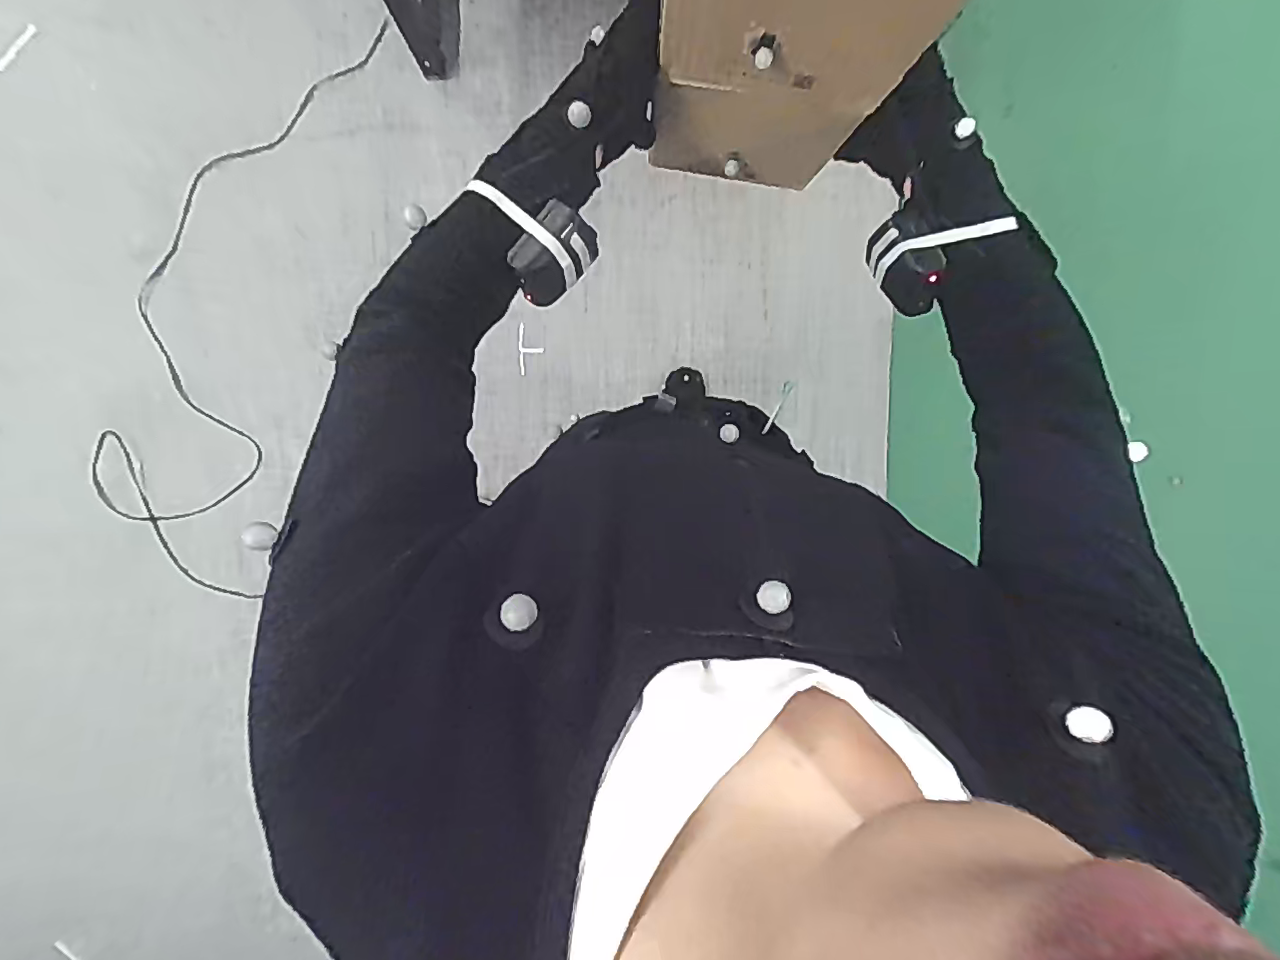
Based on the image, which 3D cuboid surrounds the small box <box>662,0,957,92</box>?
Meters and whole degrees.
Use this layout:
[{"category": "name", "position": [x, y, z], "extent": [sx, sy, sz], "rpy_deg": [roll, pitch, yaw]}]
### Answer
[{"category": "small box", "position": [0.106, -0.360, 0.295], "extent": [0.168, 0.176, 0.179], "rpy_deg": [7, 101, -3]}]

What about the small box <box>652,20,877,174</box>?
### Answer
[{"category": "small box", "position": [0.104, -0.391, 0.456], "extent": [0.168, 0.176, 0.179], "rpy_deg": [8, 103, -2]}]
